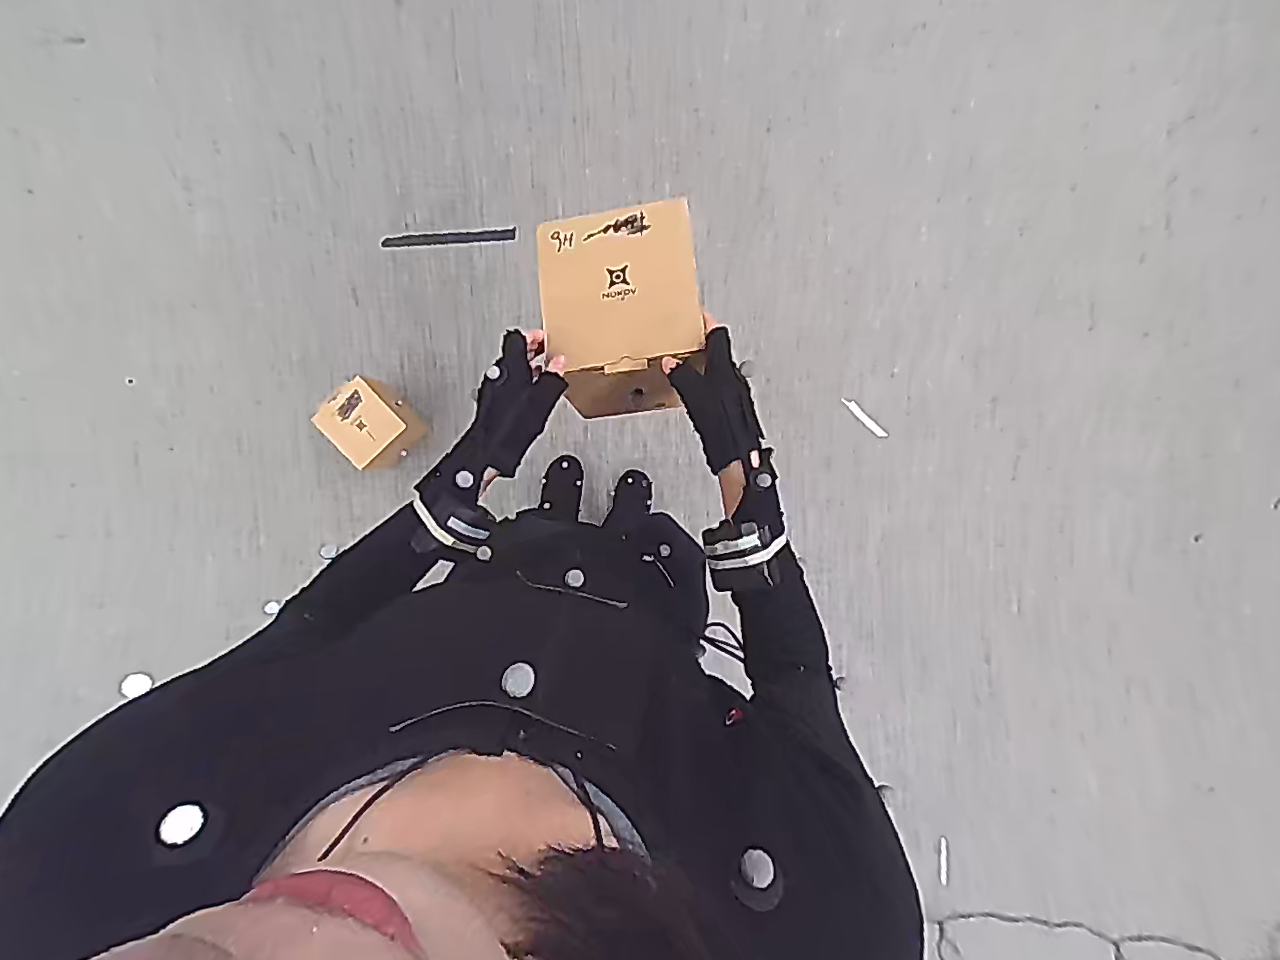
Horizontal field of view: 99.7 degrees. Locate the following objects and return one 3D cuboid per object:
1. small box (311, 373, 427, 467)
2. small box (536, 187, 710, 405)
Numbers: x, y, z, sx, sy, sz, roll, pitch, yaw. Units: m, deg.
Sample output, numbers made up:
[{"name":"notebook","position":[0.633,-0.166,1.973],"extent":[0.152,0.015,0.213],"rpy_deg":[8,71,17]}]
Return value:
[{"name":"small box","position":[-0.696,-0.150,1.409],"extent":[0.168,0.176,0.179],"rpy_deg":[-42,94,1]},{"name":"small box","position":[-0.010,-0.192,0.622],"extent":[0.168,0.176,0.179],"rpy_deg":[-7,81,6]}]
